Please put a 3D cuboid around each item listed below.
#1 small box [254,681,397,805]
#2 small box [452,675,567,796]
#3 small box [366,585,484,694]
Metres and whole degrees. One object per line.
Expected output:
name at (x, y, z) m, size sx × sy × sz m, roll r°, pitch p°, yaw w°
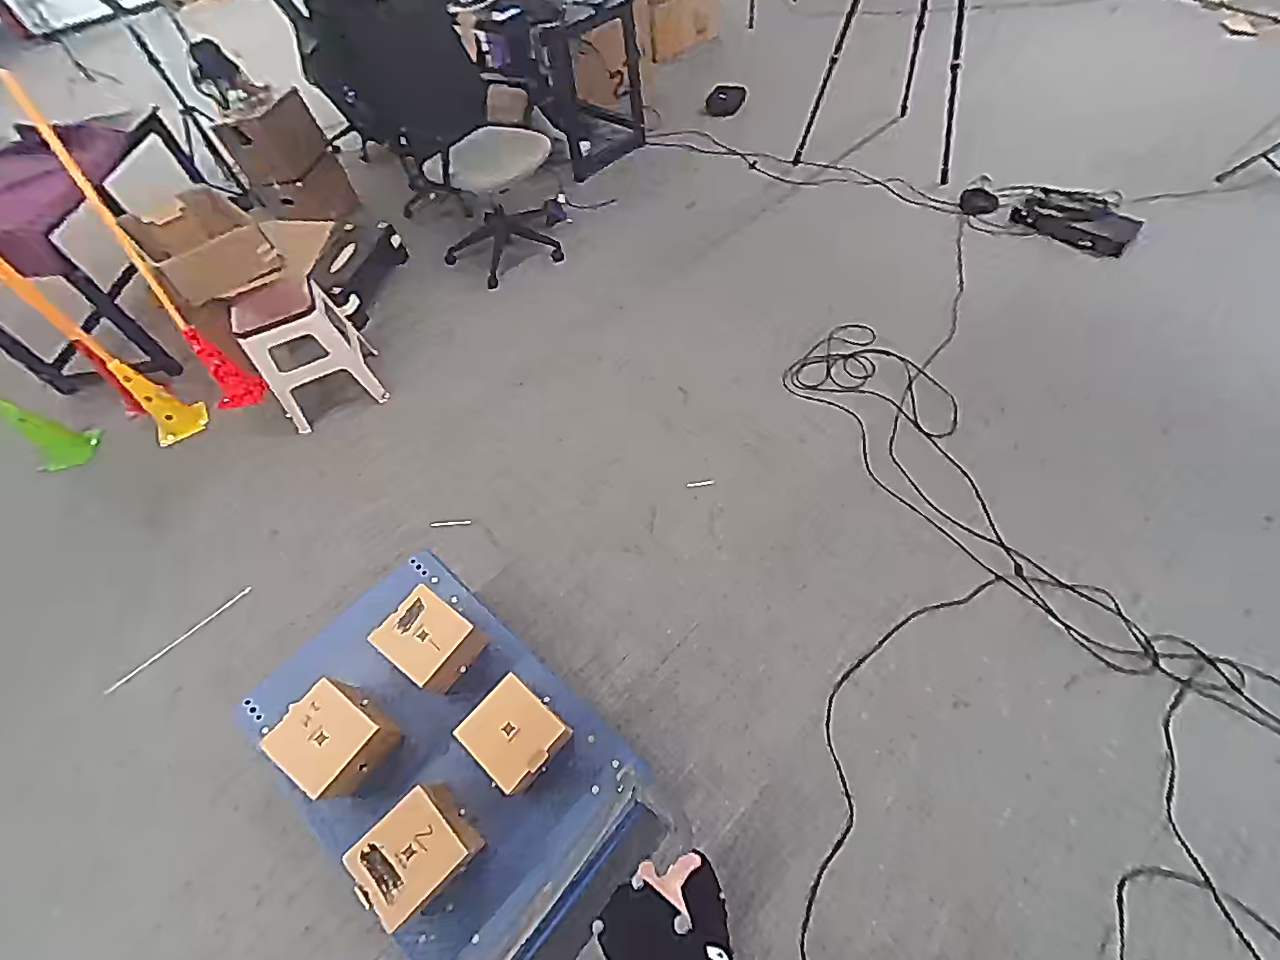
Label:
small box at (-0.665, 0.564, 1.168) m, size 0.179 × 0.176 × 0.168 m, roll 34°, pitch 64°, yaw 14°
small box at (-0.279, 0.566, 1.194) m, size 0.179 × 0.176 × 0.168 m, roll 39°, pitch 66°, yaw 16°
small box at (-0.498, 0.383, 1.277) m, size 0.179 × 0.176 × 0.168 m, roll 34°, pitch 66°, yaw 13°
